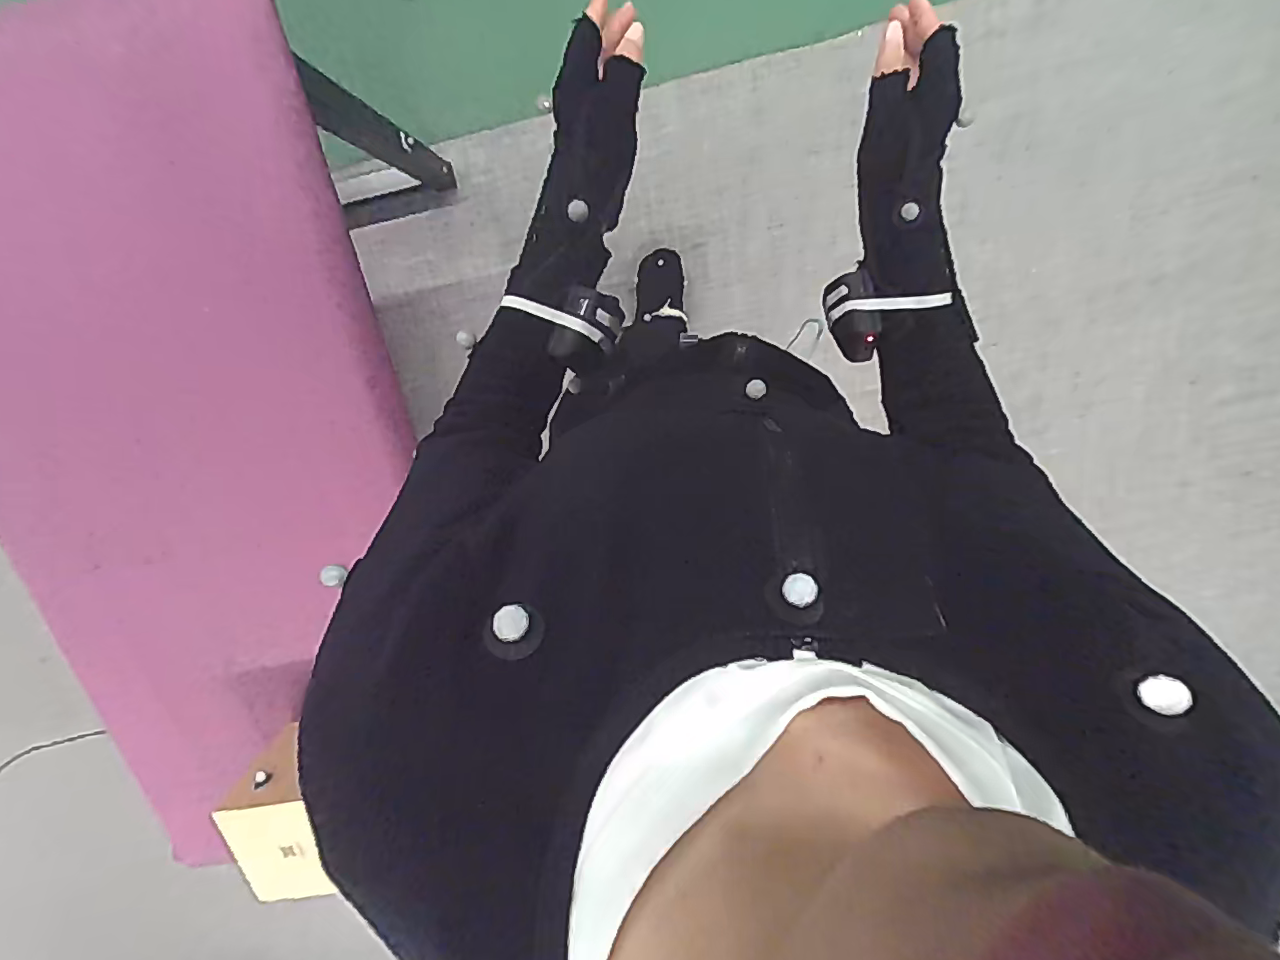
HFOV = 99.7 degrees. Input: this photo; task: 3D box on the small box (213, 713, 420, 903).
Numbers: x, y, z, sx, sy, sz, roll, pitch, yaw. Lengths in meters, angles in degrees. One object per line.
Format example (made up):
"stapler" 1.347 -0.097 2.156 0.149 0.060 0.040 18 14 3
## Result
"small box" -0.461 0.475 0.801 0.179 0.176 0.168 -10 106 4
